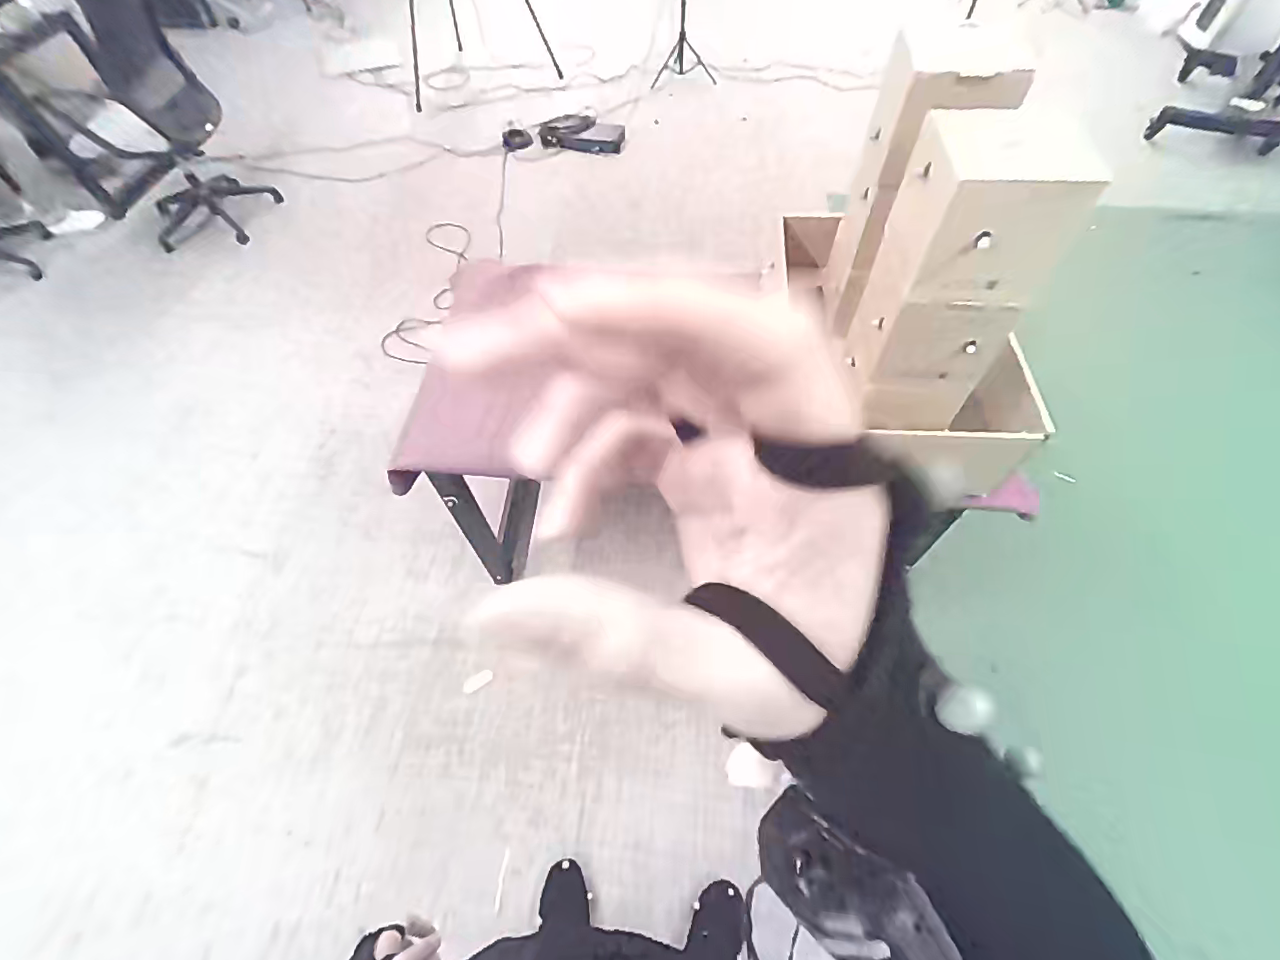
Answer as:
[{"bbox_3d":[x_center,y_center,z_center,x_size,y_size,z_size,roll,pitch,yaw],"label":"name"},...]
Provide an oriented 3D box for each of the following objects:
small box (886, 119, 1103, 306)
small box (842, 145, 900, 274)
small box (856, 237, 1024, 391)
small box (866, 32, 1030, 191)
[{"bbox_3d":[0.450,-0.352,0.723,0.168,0.176,0.179,3,55,5],"label":"small box"},{"bbox_3d":[0.488,-0.498,1.011,0.168,0.176,0.179,5,58,5],"label":"small box"},{"bbox_3d":[0.456,-0.258,0.855,0.168,0.176,0.179,4,55,5],"label":"small box"},{"bbox_3d":[0.479,-0.585,0.873,0.168,0.176,0.179,5,59,6],"label":"small box"}]
